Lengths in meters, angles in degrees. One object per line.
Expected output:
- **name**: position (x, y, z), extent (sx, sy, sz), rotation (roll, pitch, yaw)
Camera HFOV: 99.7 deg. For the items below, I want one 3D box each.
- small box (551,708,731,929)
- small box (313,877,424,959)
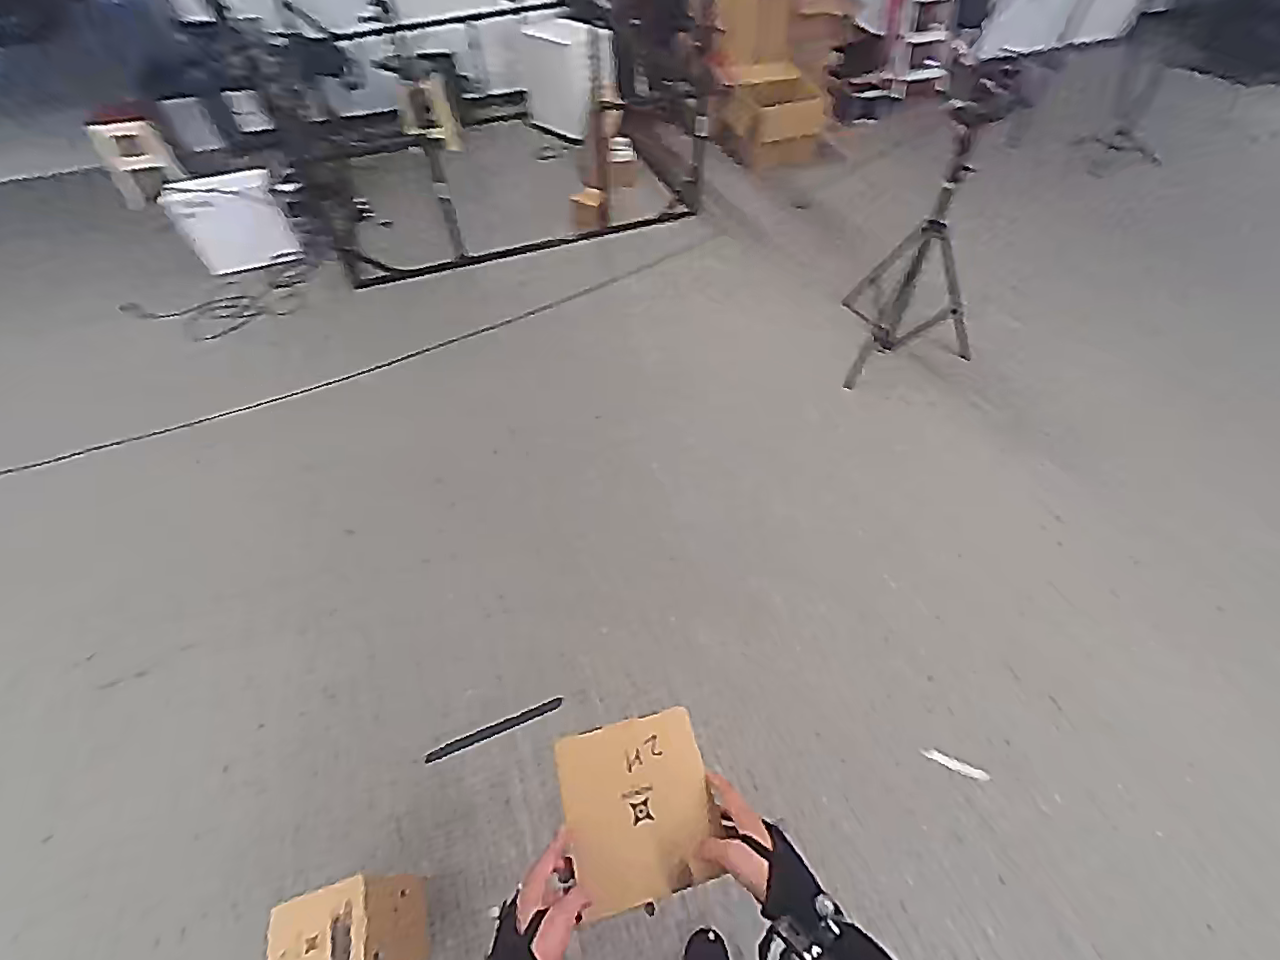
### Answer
- **small box**: position (-0.010, 0.403, 0.654), extent (0.168, 0.176, 0.179), rotation (-9, 55, -14)
- **small box**: position (-0.582, 0.995, 1.171), extent (0.168, 0.176, 0.179), rotation (-17, 53, -11)
